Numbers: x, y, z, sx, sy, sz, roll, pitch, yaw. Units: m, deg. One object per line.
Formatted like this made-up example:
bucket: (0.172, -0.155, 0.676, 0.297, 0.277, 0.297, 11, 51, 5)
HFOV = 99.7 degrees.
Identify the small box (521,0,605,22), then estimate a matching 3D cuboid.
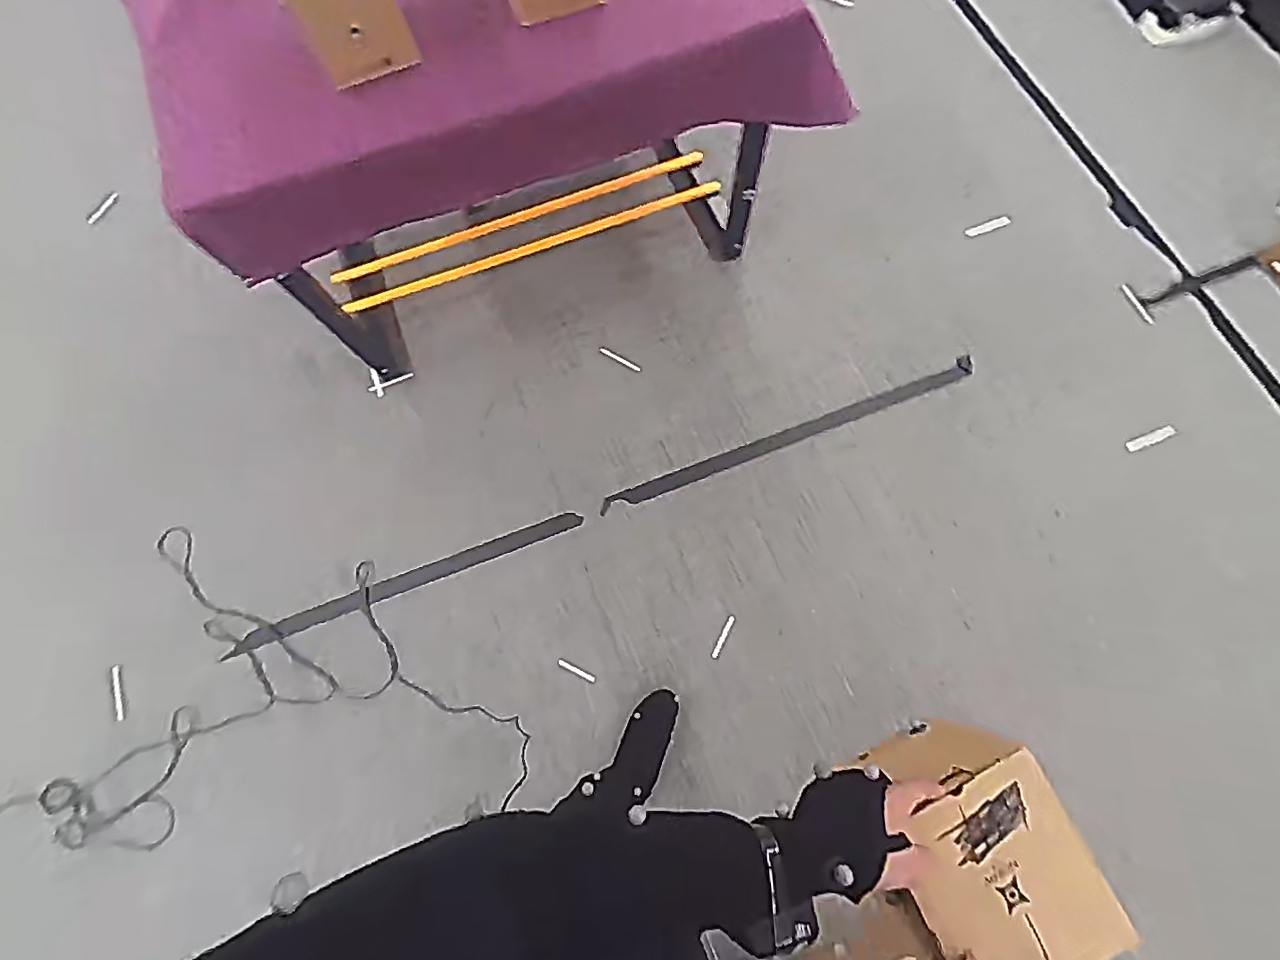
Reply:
small box: (-0.152, -0.984, 0.972, 0.179, 0.176, 0.168, -18, 75, -3)

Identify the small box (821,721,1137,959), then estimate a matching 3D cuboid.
small box: (0.316, 0.367, 0.549, 0.168, 0.176, 0.179, -25, 79, -8)

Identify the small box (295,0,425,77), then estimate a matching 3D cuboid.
small box: (-0.501, -0.849, 0.943, 0.168, 0.176, 0.179, -22, 75, -5)
